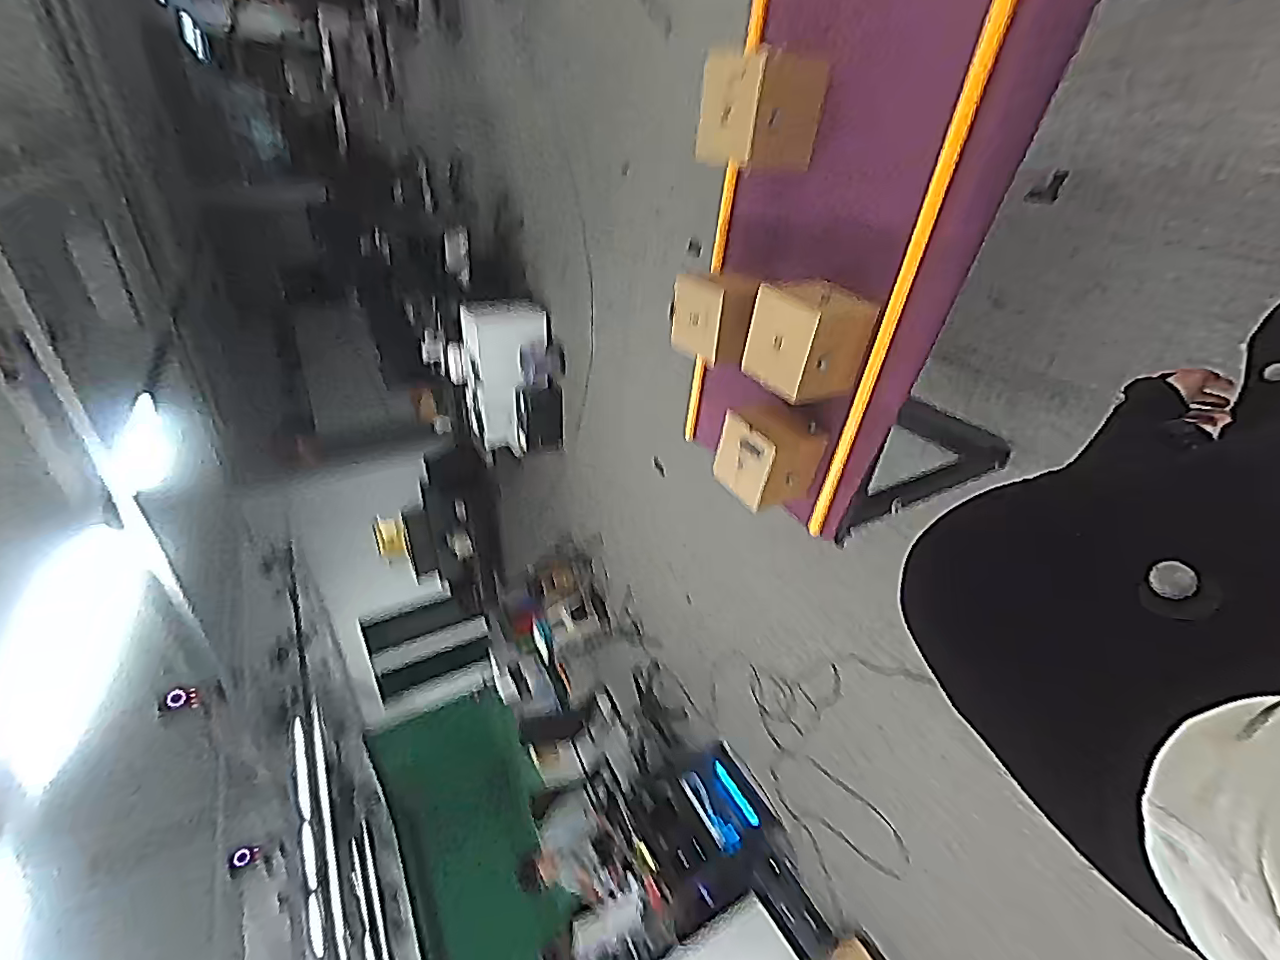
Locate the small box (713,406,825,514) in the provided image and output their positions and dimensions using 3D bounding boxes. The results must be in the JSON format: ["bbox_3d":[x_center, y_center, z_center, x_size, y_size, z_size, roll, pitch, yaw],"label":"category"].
[{"bbox_3d":[0.300,-0.053,1.254,0.168,0.176,0.179,48,142,40],"label":"small box"}]

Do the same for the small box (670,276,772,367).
[{"bbox_3d":[0.193,-0.384,1.290,0.179,0.176,0.168,41,138,45],"label":"small box"}]

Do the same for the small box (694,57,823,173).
[{"bbox_3d":[0.228,-0.709,1.058,0.168,0.176,0.179,43,139,43],"label":"small box"}]

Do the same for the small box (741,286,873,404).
[{"bbox_3d":[0.334,-0.278,1.085,0.168,0.176,0.179,47,142,42],"label":"small box"}]
